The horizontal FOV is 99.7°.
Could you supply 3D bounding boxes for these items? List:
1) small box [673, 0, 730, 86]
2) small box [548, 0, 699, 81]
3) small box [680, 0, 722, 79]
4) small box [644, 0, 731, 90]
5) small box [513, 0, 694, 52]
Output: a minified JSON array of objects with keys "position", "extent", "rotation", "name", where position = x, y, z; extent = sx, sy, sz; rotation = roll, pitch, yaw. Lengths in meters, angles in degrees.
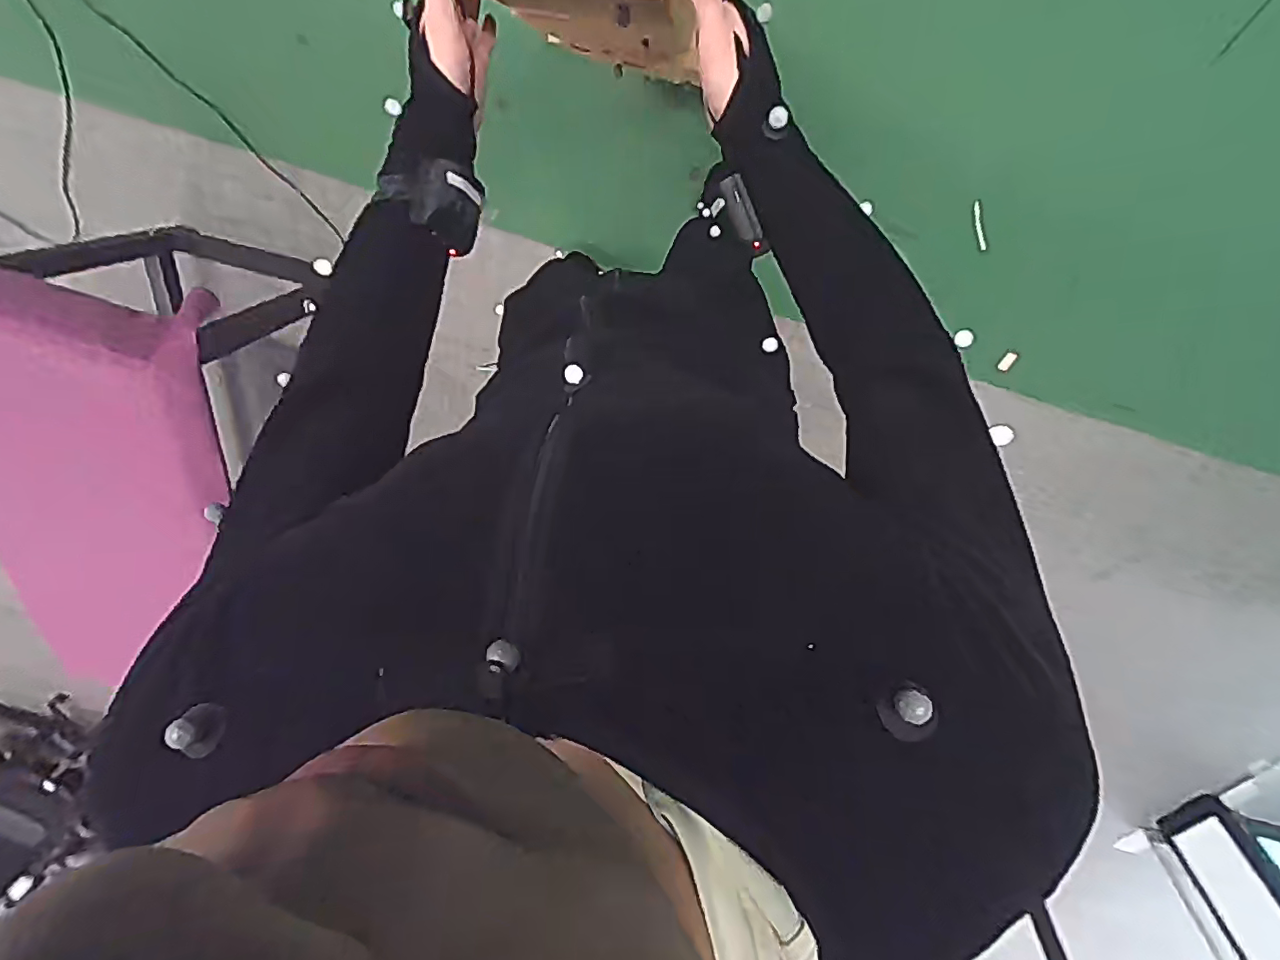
[{"position":[0.063,-0.839,0.985],"extent":[0.179,0.176,0.168],"rotation":[15,124,0],"name":"small box"},{"position":[-0.009,-0.659,0.721],"extent":[0.168,0.176,0.179],"rotation":[17,125,0],"name":"small box"},{"position":[0.033,-0.751,0.850],"extent":[0.179,0.176,0.168],"rotation":[13,124,1],"name":"small box"},{"position":[0.086,-0.926,1.119],"extent":[0.179,0.176,0.168],"rotation":[14,123,1],"name":"small box"},{"position":[-0.026,-0.578,0.579],"extent":[0.179,0.176,0.168],"rotation":[10,123,5],"name":"small box"}]
